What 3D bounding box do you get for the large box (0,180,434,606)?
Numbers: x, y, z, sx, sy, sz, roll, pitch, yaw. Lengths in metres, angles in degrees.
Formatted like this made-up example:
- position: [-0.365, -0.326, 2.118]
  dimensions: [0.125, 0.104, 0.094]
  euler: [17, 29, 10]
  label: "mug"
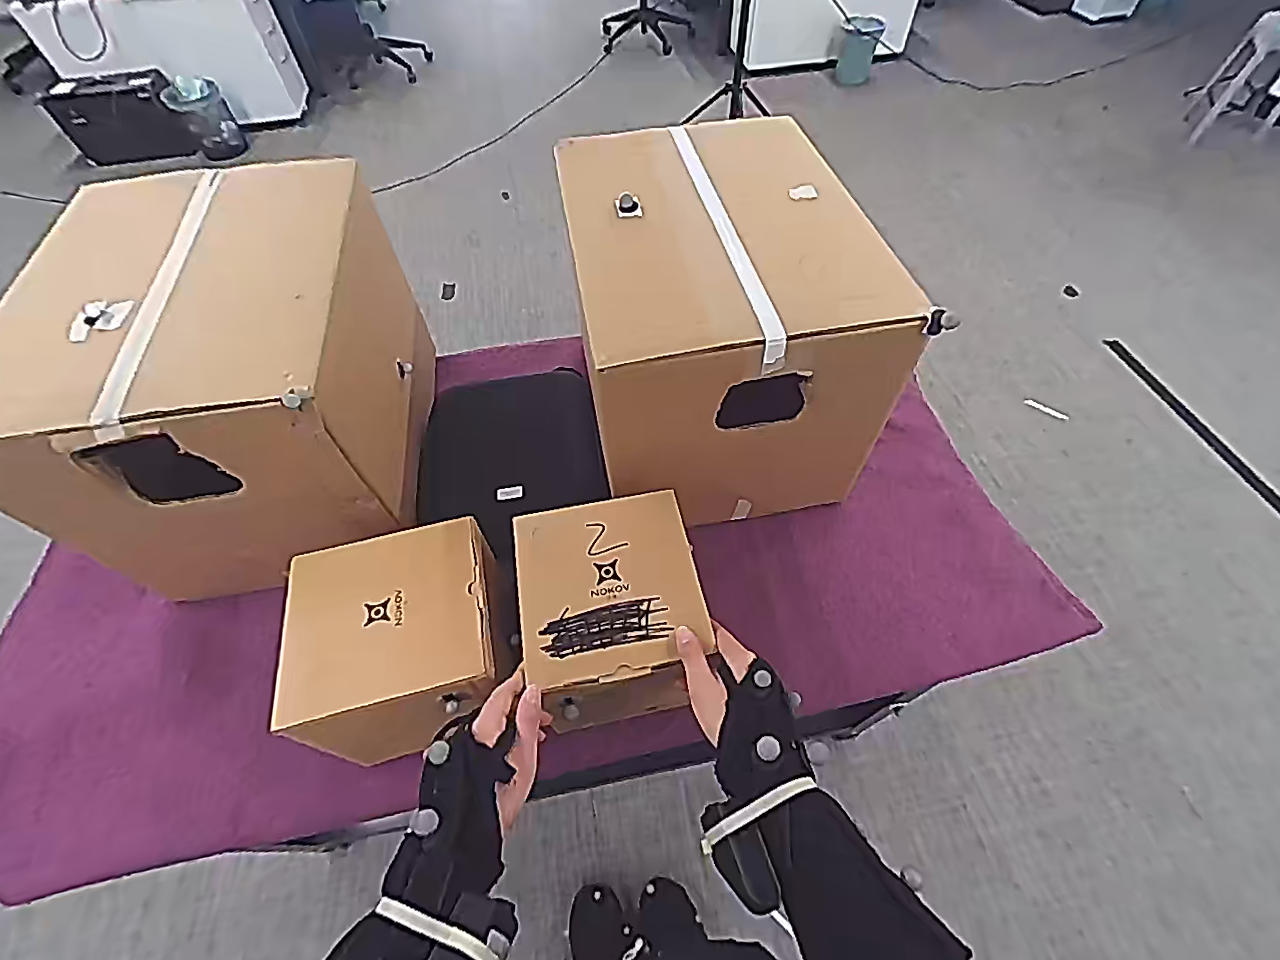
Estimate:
- position: [-0.462, -0.106, 0.678]
  dimensions: [0.320, 0.320, 0.408]
  euler: [-11, 58, -5]
  label: "large box"
